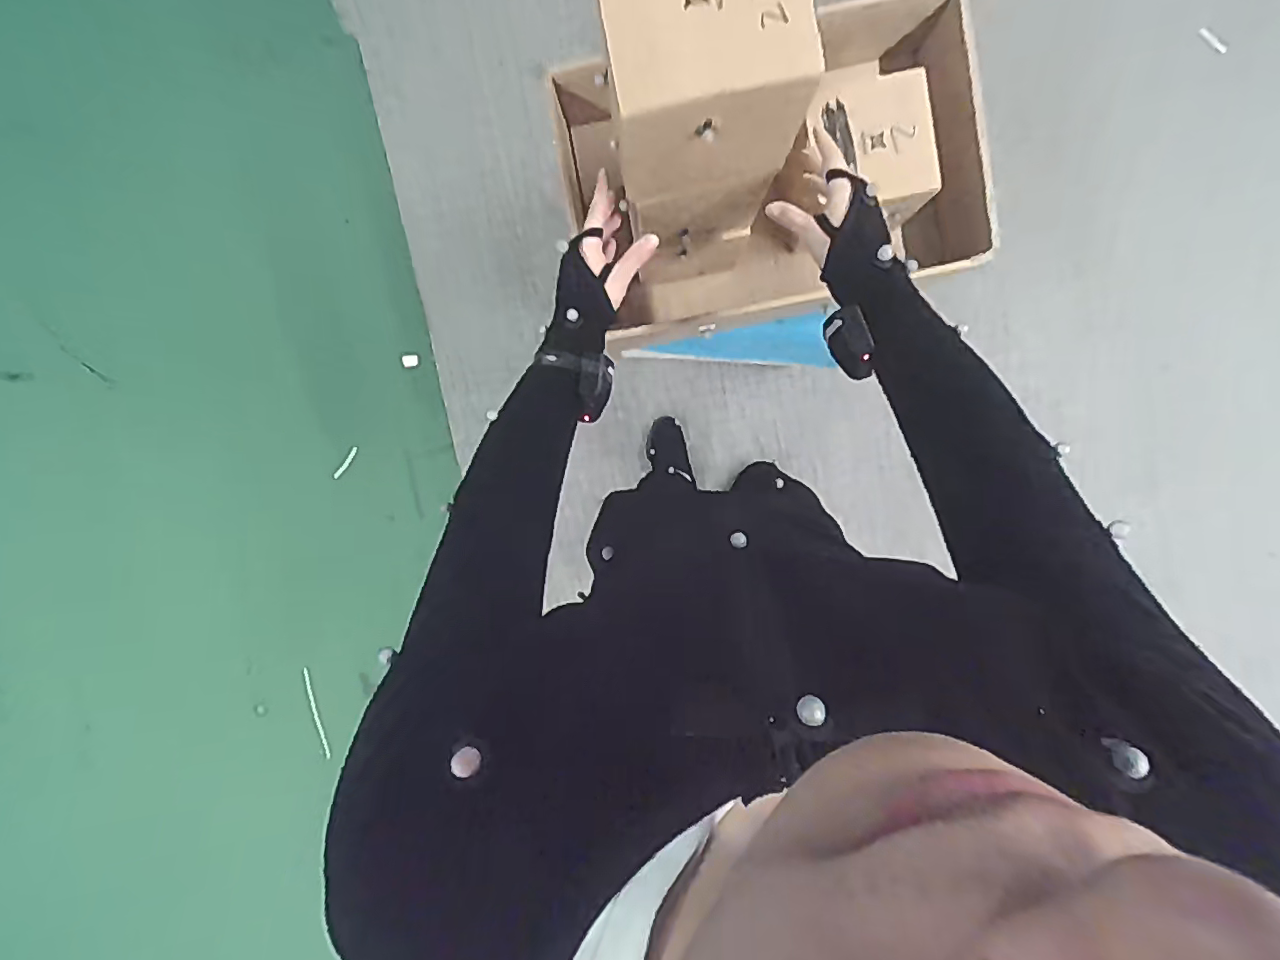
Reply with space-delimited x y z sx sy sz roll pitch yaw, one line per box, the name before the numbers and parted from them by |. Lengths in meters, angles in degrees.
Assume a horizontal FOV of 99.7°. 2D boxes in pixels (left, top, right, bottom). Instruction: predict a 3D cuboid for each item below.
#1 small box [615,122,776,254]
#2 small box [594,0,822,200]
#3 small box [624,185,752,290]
small box | 0.060 -0.415 0.686 0.168 0.176 0.179 -11 94 2
small box | 0.056 -0.399 0.523 0.179 0.176 0.168 -10 94 3
small box | 0.067 -0.421 0.849 0.168 0.176 0.179 -11 93 3
